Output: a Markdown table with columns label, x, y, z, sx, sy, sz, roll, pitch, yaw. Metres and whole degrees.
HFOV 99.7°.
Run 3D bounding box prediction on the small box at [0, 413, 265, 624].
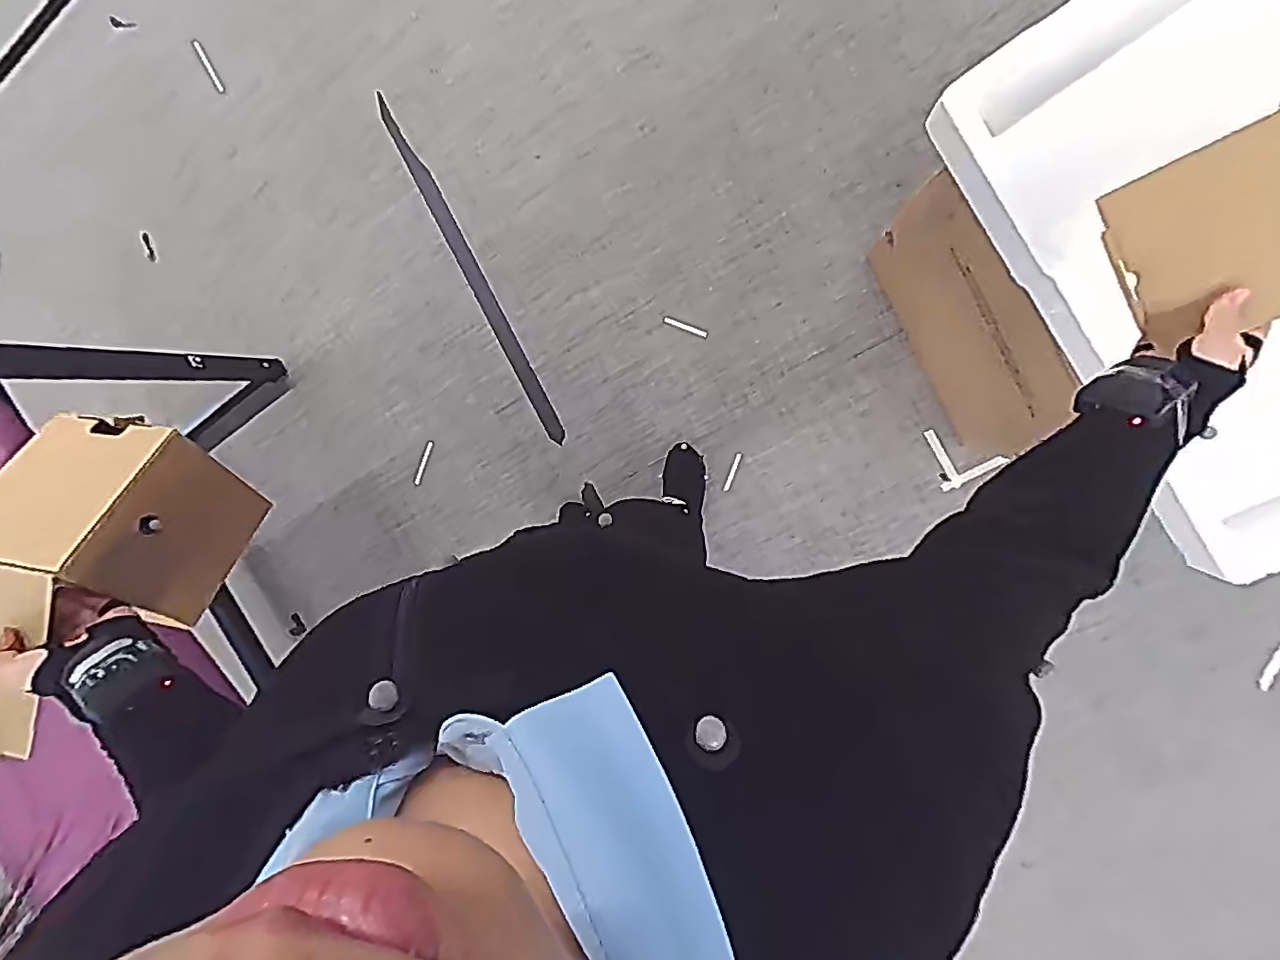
| label | x | y | z | sx | sy | sz | roll | pitch | yaw |
| --- | --- | --- | --- | --- | --- | --- | --- | --- | --- |
| small box | -0.590 | 0.050 | 0.625 | 0.168 | 0.176 | 0.179 | 8 | 58 | 10 |
